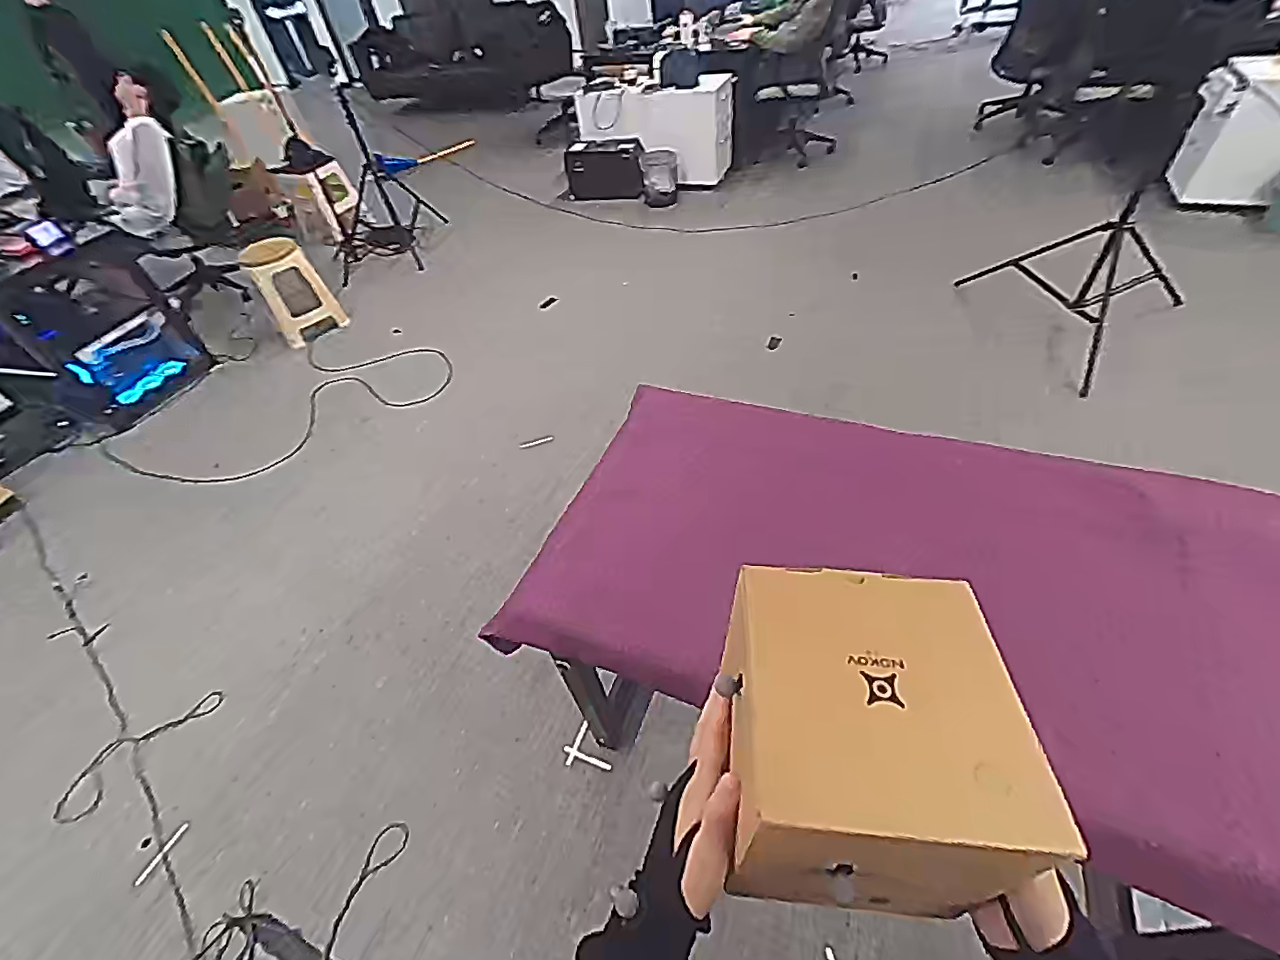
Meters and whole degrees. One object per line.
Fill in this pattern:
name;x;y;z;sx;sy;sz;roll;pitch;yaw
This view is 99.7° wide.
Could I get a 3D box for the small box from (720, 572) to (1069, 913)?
small box;0.151;0.192;0.400;0.168;0.176;0.179;3;41;3
